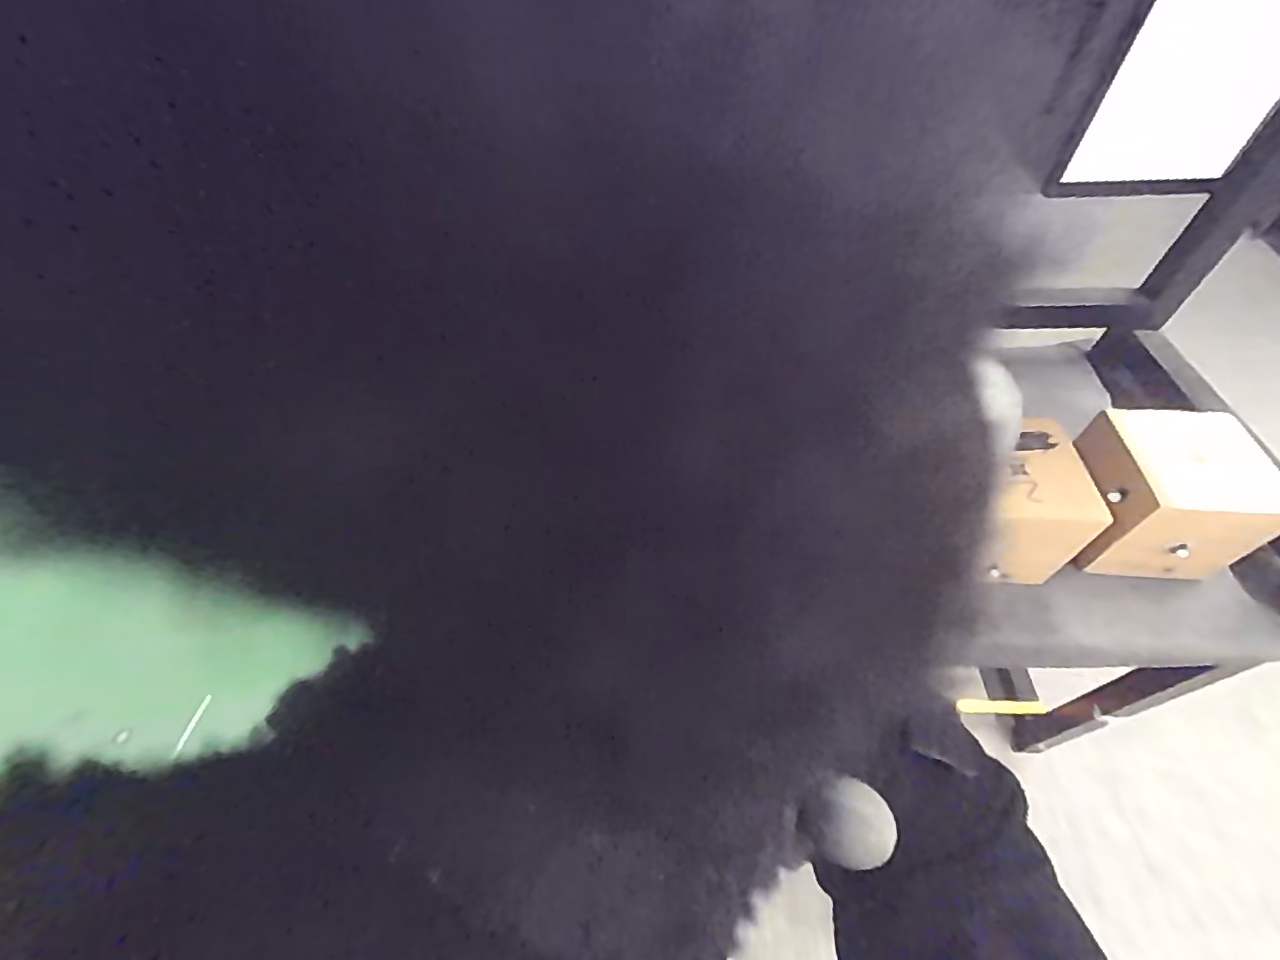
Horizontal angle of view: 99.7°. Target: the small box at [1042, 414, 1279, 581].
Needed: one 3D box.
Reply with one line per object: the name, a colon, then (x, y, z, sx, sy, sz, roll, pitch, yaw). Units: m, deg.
small box: (0.722, 0.028, 0.767, 0.168, 0.176, 0.179, 3, 51, 6)
